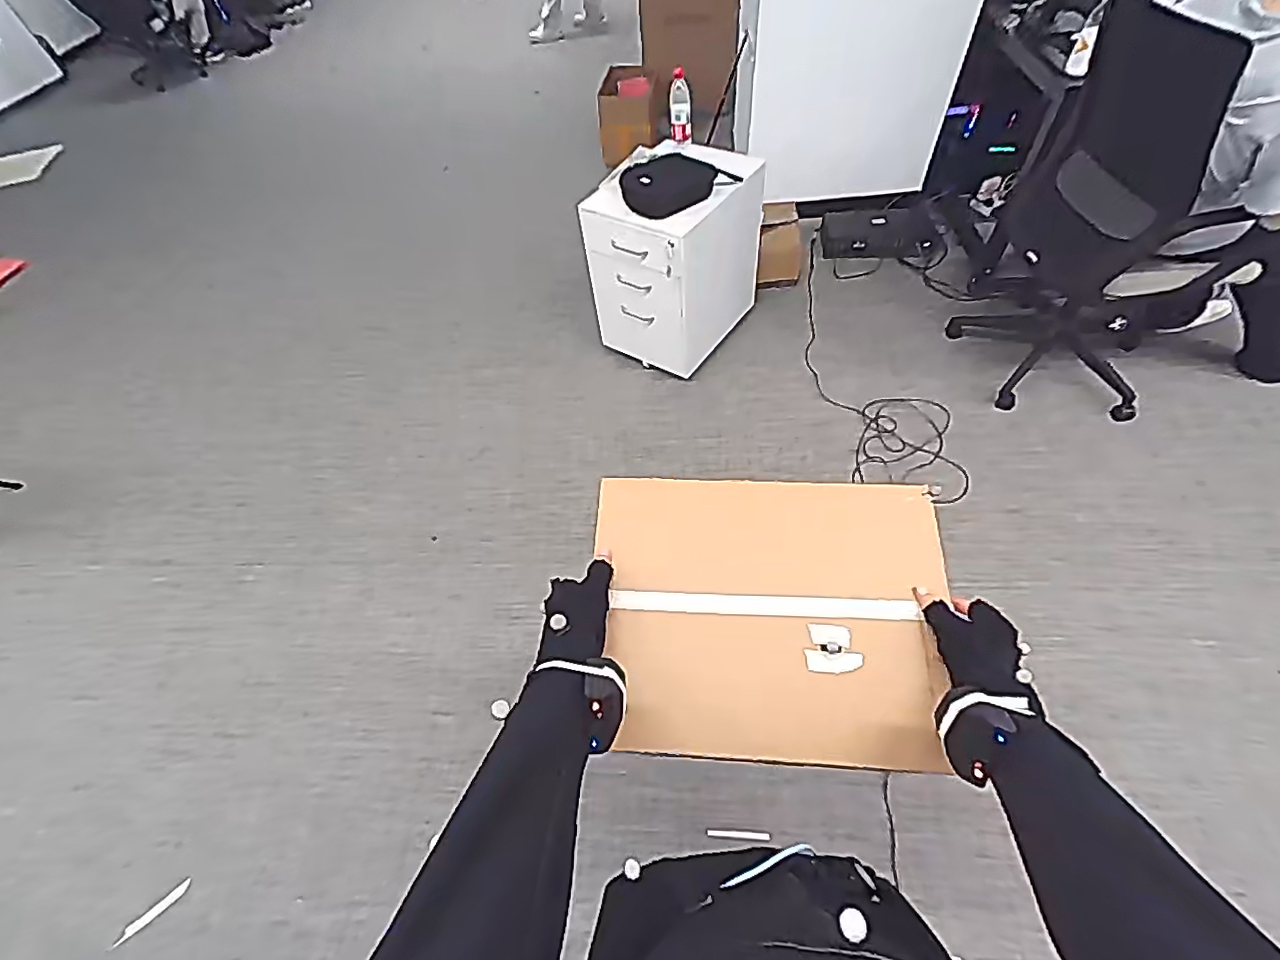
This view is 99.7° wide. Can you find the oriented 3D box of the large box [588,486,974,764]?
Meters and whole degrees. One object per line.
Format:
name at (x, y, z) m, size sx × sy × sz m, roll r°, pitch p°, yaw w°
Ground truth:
large box at (0.155, 0.214, 0.756) m, size 0.408 × 0.320 × 0.320 m, roll 1°, pitch 64°, yaw 5°
